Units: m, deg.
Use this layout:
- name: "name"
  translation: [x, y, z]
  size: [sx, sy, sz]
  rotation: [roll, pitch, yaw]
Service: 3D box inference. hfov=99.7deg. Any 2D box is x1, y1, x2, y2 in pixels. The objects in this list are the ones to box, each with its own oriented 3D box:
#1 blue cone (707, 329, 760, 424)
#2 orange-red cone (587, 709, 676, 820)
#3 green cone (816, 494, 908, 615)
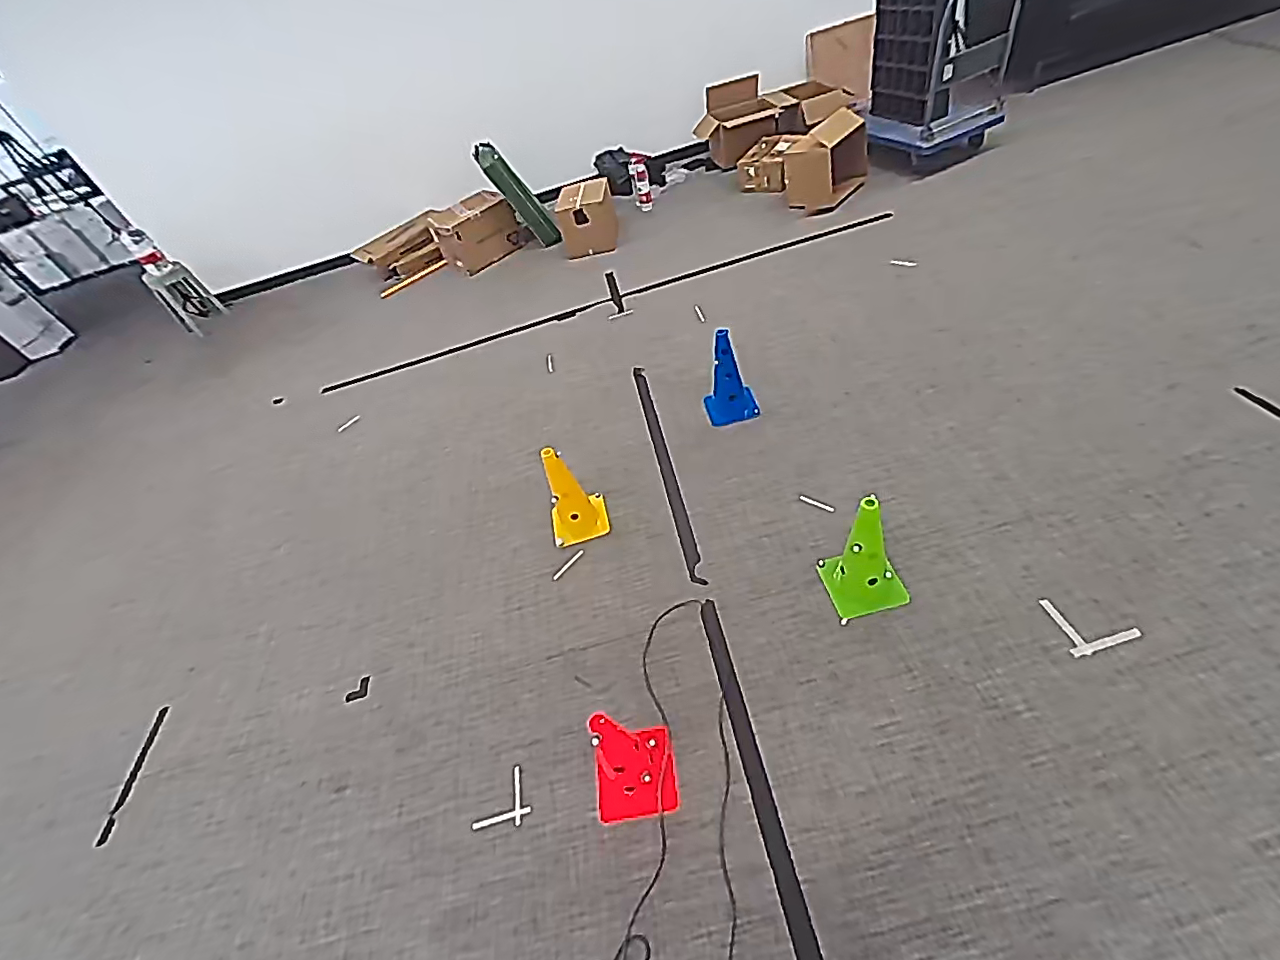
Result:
- name: "blue cone"
  translation: [0.343, -0.413, 2.100]
  size: [0.192, 0.380, 0.193]
  rotation: [-13, 46, 4]
- name: "orange-red cone"
  translation: [-0.053, 0.613, 1.234]
  size: [0.199, 0.360, 0.198]
  rotation: [-14, 44, 6]
- name: "green cone"
  translation: [0.601, 0.173, 1.440]
  size: [0.202, 0.368, 0.200]
  rotation: [-15, 45, 2]
